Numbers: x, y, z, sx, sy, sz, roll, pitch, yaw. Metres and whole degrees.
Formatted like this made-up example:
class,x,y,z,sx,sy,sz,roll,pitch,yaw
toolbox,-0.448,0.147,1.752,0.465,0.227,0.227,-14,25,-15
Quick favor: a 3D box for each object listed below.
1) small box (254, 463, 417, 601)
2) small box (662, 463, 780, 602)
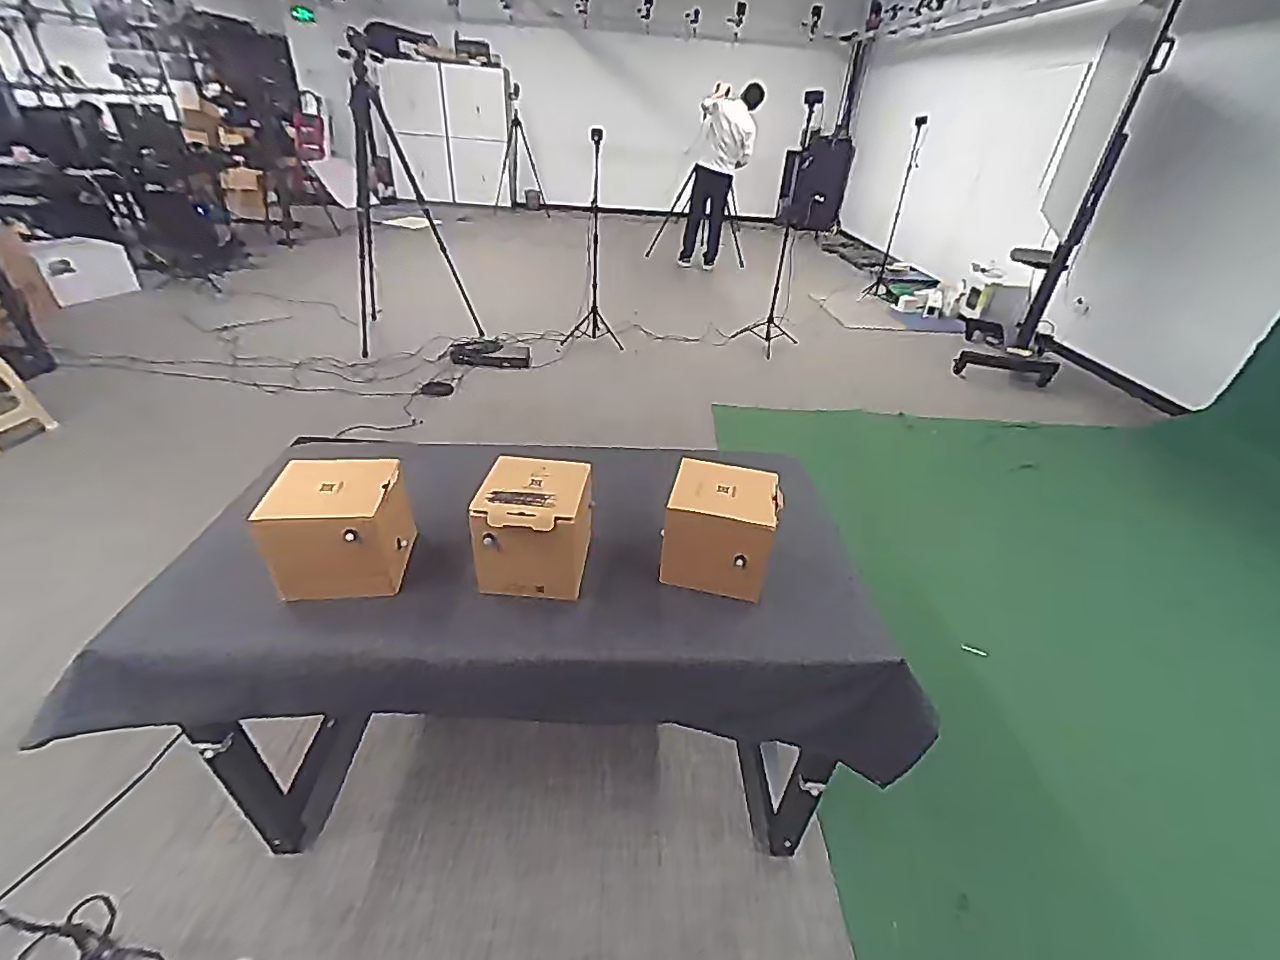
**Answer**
class,x,y,z,sx,sy,sz,roll,pitch,yaw
small box,-0.487,0.086,0.897,0.179,0.176,0.168,-1,33,-9
small box,0.143,0.092,0.957,0.179,0.176,0.168,9,33,9
